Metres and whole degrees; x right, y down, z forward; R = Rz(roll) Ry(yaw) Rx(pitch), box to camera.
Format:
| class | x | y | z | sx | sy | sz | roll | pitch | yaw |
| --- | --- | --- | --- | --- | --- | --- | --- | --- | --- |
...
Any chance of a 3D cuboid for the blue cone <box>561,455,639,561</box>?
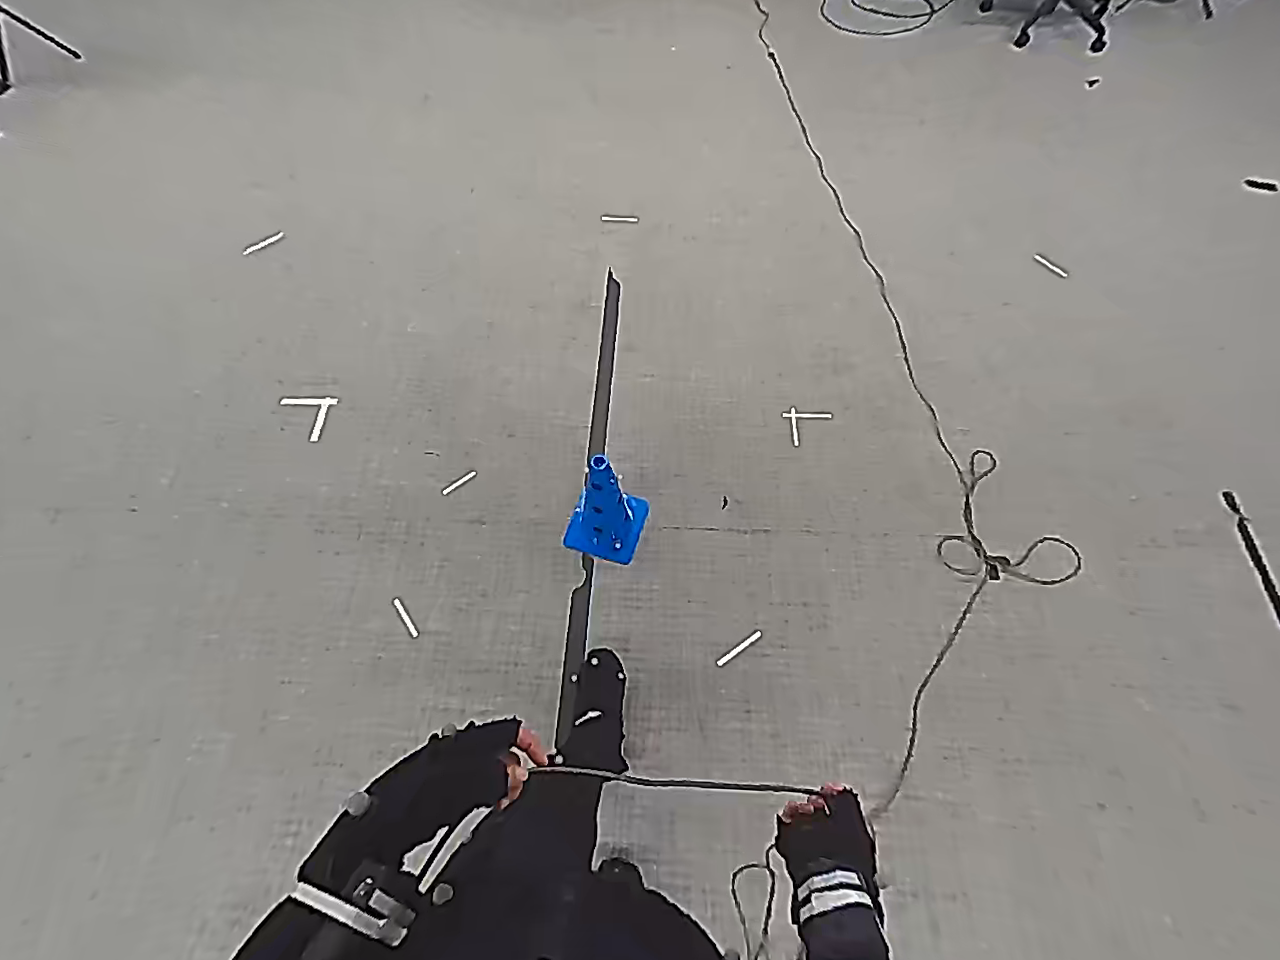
| class | x | y | z | sx | sy | sz | roll | pitch | yaw |
| --- | --- | --- | --- | --- | --- | --- | --- | --- | --- |
| blue cone | -0.109 | 0.048 | 1.369 | 0.192 | 0.380 | 0.193 | 17 | 64 | 9 |
